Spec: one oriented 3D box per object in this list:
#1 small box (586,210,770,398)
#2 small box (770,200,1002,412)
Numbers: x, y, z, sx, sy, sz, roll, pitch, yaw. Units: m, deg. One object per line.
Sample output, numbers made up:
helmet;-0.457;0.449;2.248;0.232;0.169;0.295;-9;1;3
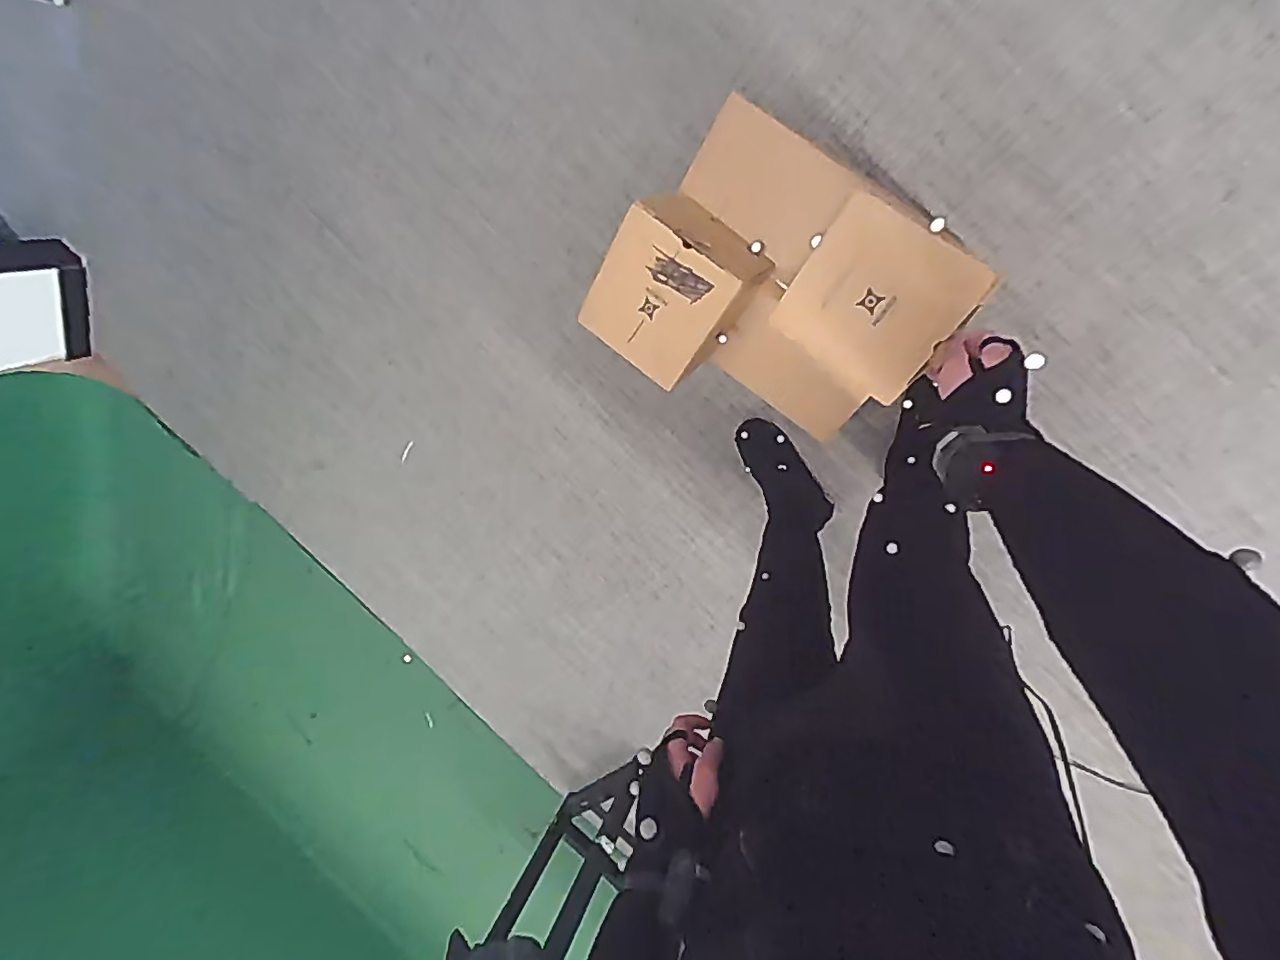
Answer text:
small box;0.060;-0.251;0.751;0.168;0.176;0.179;39;128;4
small box;0.290;-0.214;0.656;0.179;0.176;0.168;36;122;8
